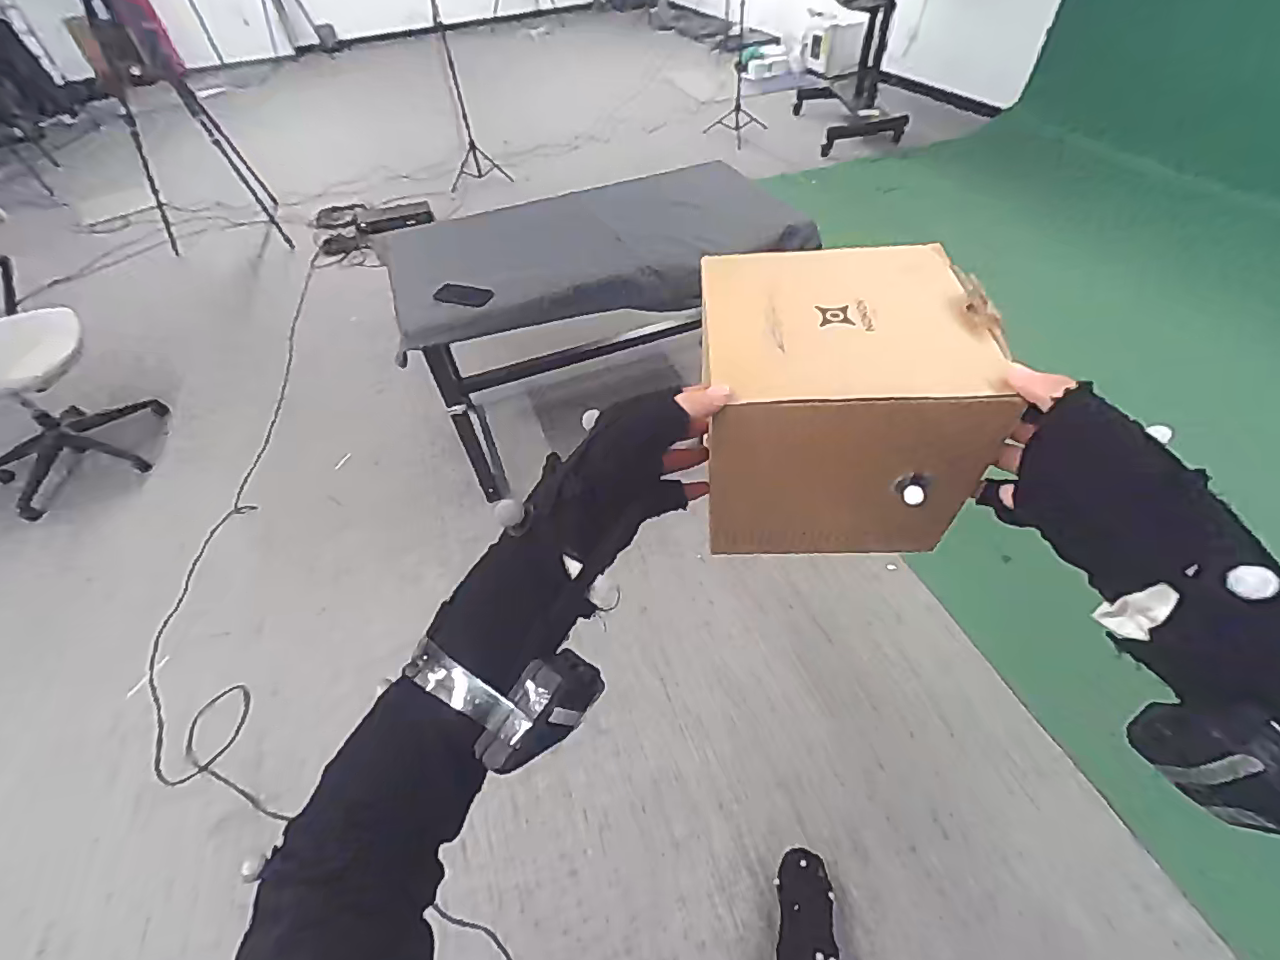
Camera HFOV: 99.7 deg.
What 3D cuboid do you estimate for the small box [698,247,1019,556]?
[{"bbox_3d":[0.135,-0.053,0.416,0.179,0.176,0.168,-3,50,6],"label":"small box"}]
